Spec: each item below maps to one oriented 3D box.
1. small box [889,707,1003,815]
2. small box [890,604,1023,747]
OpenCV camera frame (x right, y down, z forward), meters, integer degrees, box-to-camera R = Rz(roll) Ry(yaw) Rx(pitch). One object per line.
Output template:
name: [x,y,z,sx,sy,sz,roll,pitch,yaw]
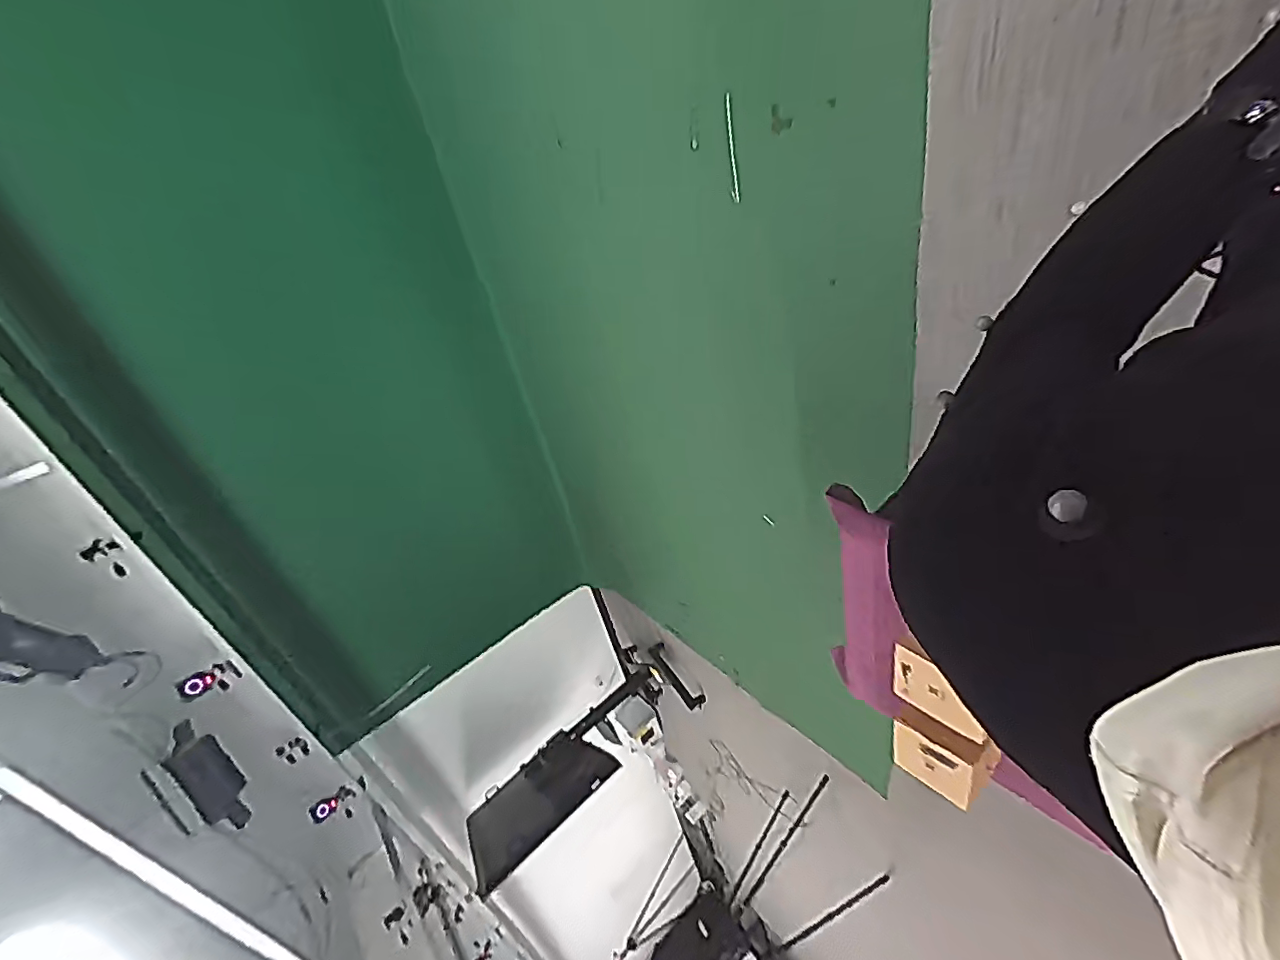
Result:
small box: [0.682,0.586,1.209,0.168,0.176,0.179,25,139,47]
small box: [0.628,0.379,1.079,0.179,0.176,0.168,26,140,45]
